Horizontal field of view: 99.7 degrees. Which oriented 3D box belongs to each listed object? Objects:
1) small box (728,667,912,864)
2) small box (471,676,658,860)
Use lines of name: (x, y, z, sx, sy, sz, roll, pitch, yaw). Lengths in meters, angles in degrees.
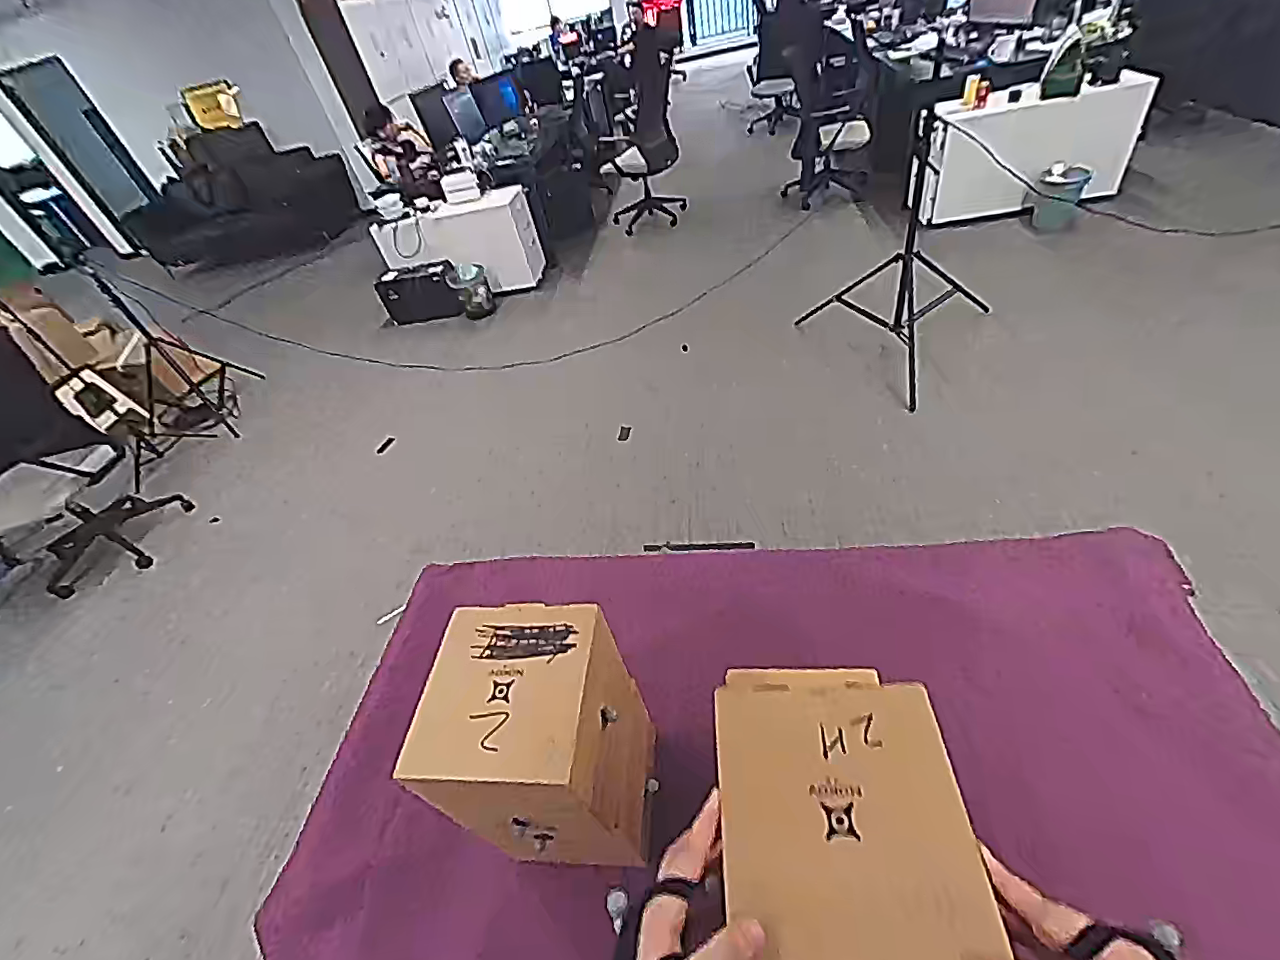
small box: (0.199, 0.339, 0.643, 0.179, 0.176, 0.168, -5, 43, 12)
small box: (-0.081, 0.367, 0.690, 0.179, 0.176, 0.168, -4, 44, 10)
